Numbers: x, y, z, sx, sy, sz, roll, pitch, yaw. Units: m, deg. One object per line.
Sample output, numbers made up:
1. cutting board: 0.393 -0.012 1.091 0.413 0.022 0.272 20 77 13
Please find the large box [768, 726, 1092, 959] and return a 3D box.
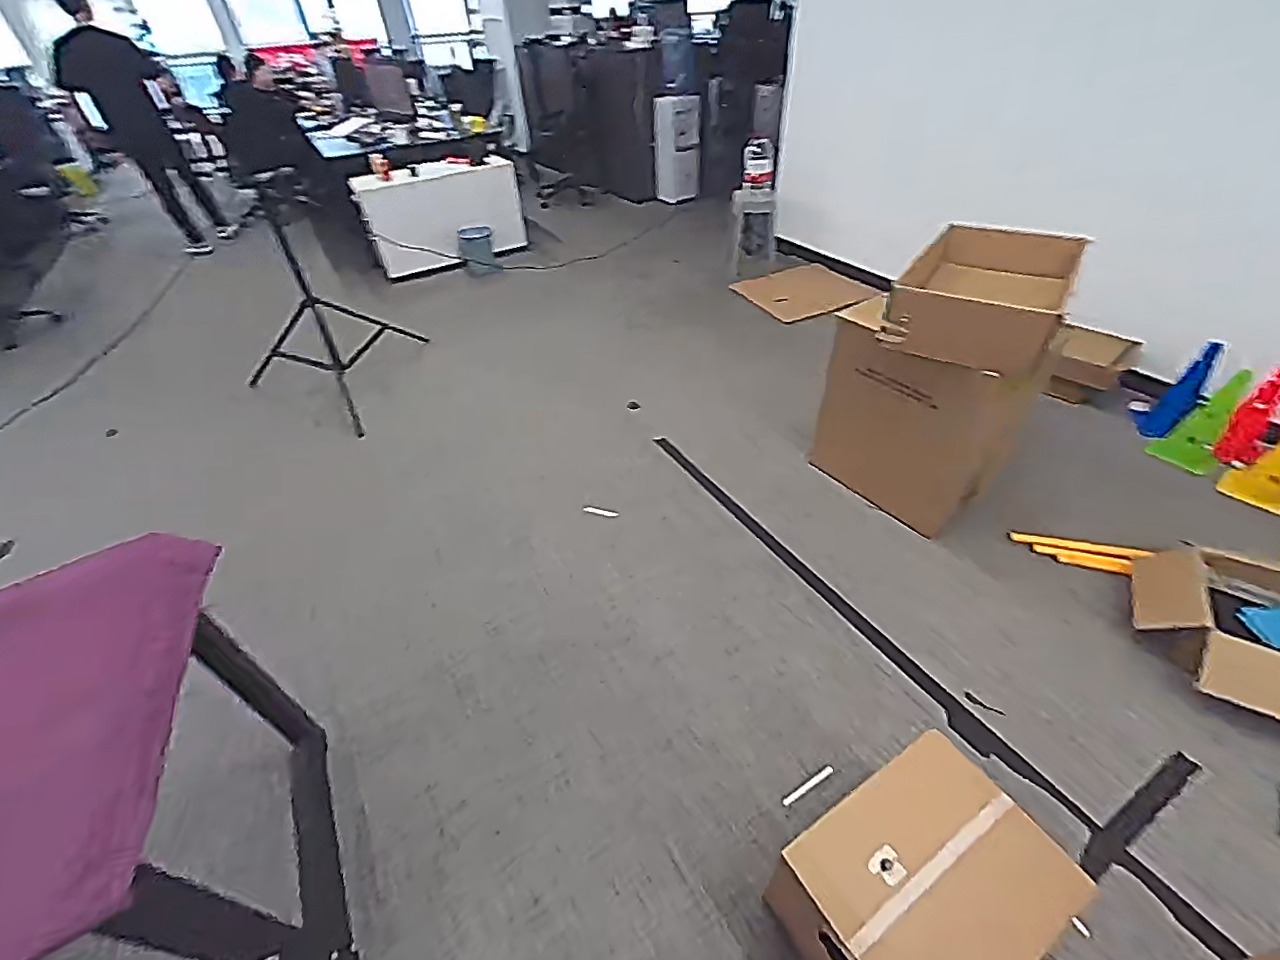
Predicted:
1. large box: 0.499 0.753 0.998 0.408 0.320 0.320 -25 45 -21
